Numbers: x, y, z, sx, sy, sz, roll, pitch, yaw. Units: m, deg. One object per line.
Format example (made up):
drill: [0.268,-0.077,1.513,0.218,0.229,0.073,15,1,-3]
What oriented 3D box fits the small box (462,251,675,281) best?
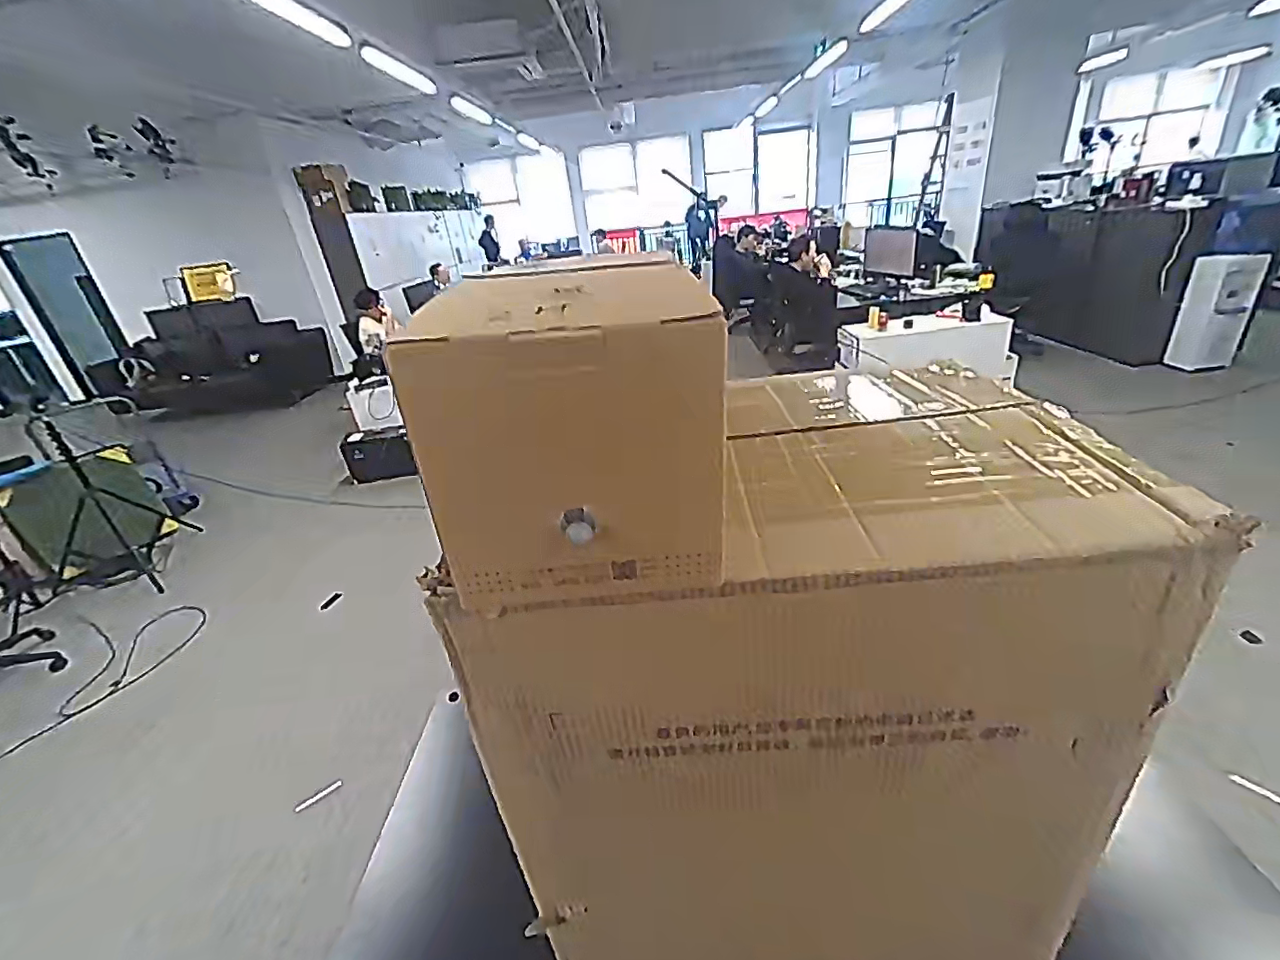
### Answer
small box: [-0.048,-0.123,0.529,0.179,0.176,0.168,-4,25,3]

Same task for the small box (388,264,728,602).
small box: [-0.039,-0.041,0.367,0.168,0.176,0.179,-5,30,-1]
